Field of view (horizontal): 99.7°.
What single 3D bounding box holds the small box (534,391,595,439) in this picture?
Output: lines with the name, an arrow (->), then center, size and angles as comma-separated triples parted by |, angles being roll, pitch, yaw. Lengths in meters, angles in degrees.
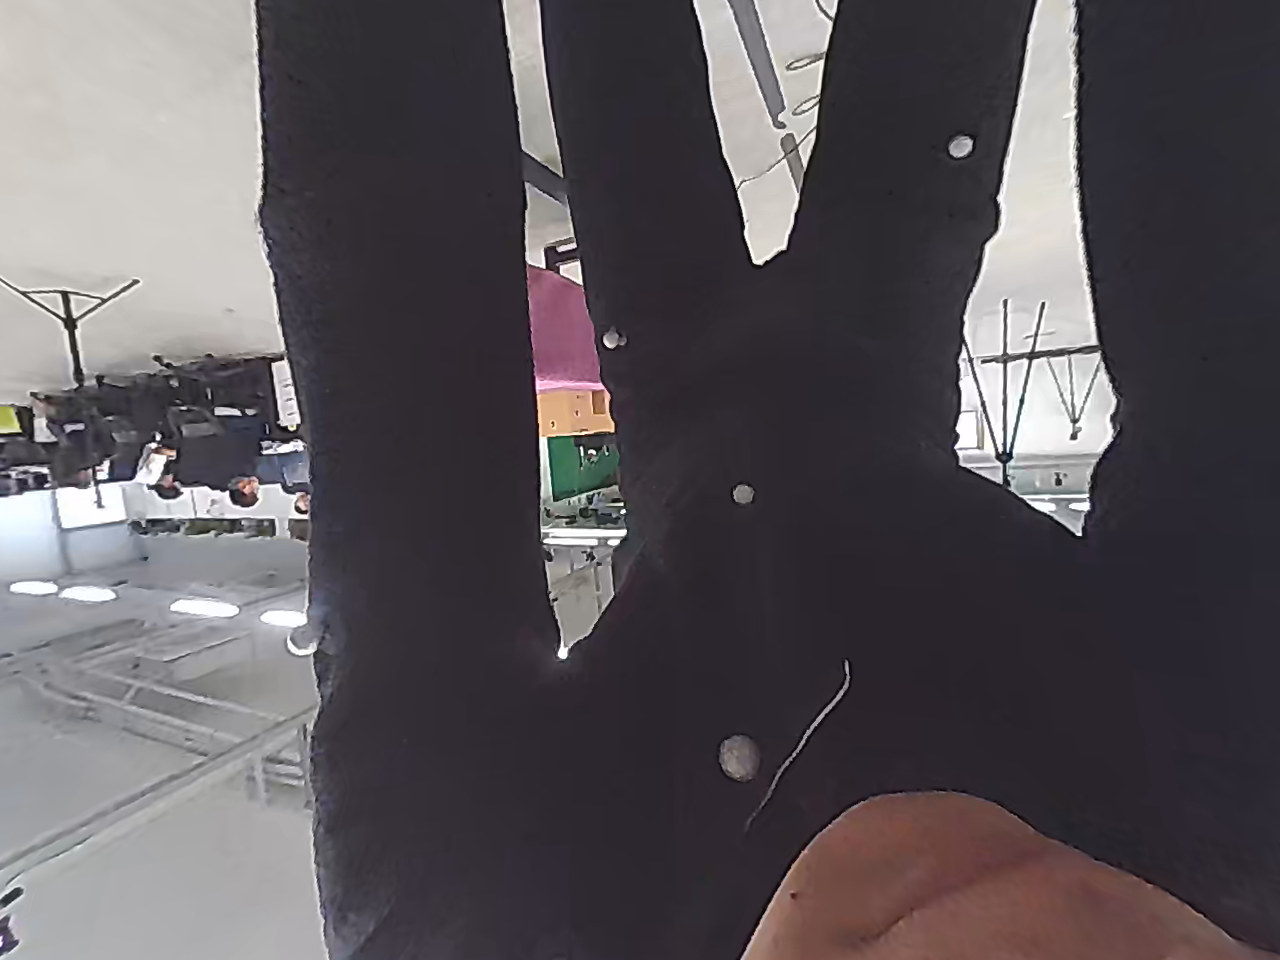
small box -> -0.297, -0.256, 2.117 | 0.179, 0.176, 0.168 | -2, -175, 27

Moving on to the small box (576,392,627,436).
small box -> -0.174, -0.284, 2.333 | 0.179, 0.176, 0.168 | -2, -173, 29
